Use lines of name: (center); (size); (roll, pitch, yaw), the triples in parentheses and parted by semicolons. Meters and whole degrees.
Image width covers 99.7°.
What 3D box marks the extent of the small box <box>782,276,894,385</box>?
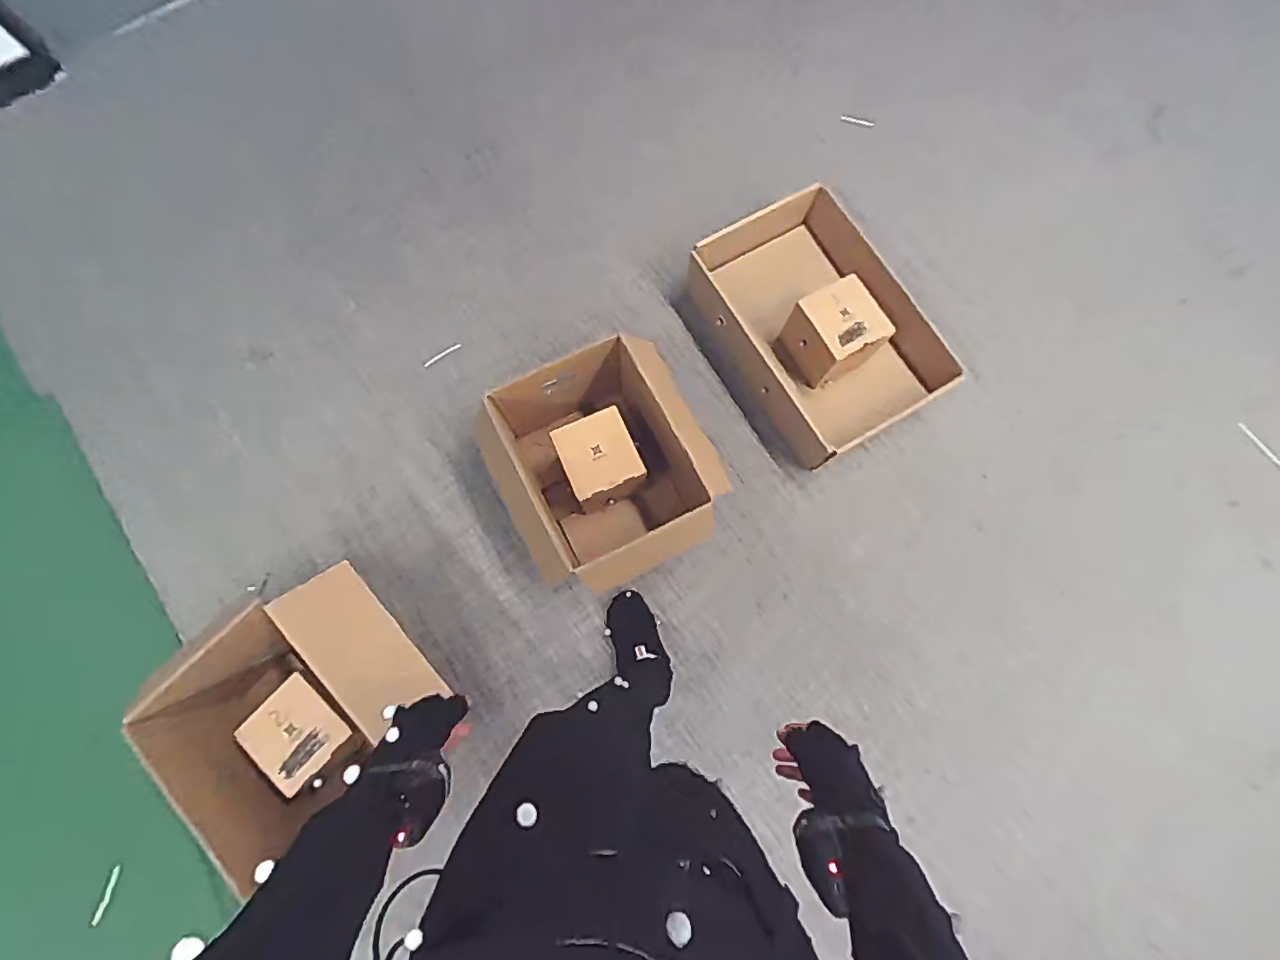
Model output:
small box: (0.478, -0.356, 1.333); (0.168, 0.176, 0.179); (-27, 77, -7)
